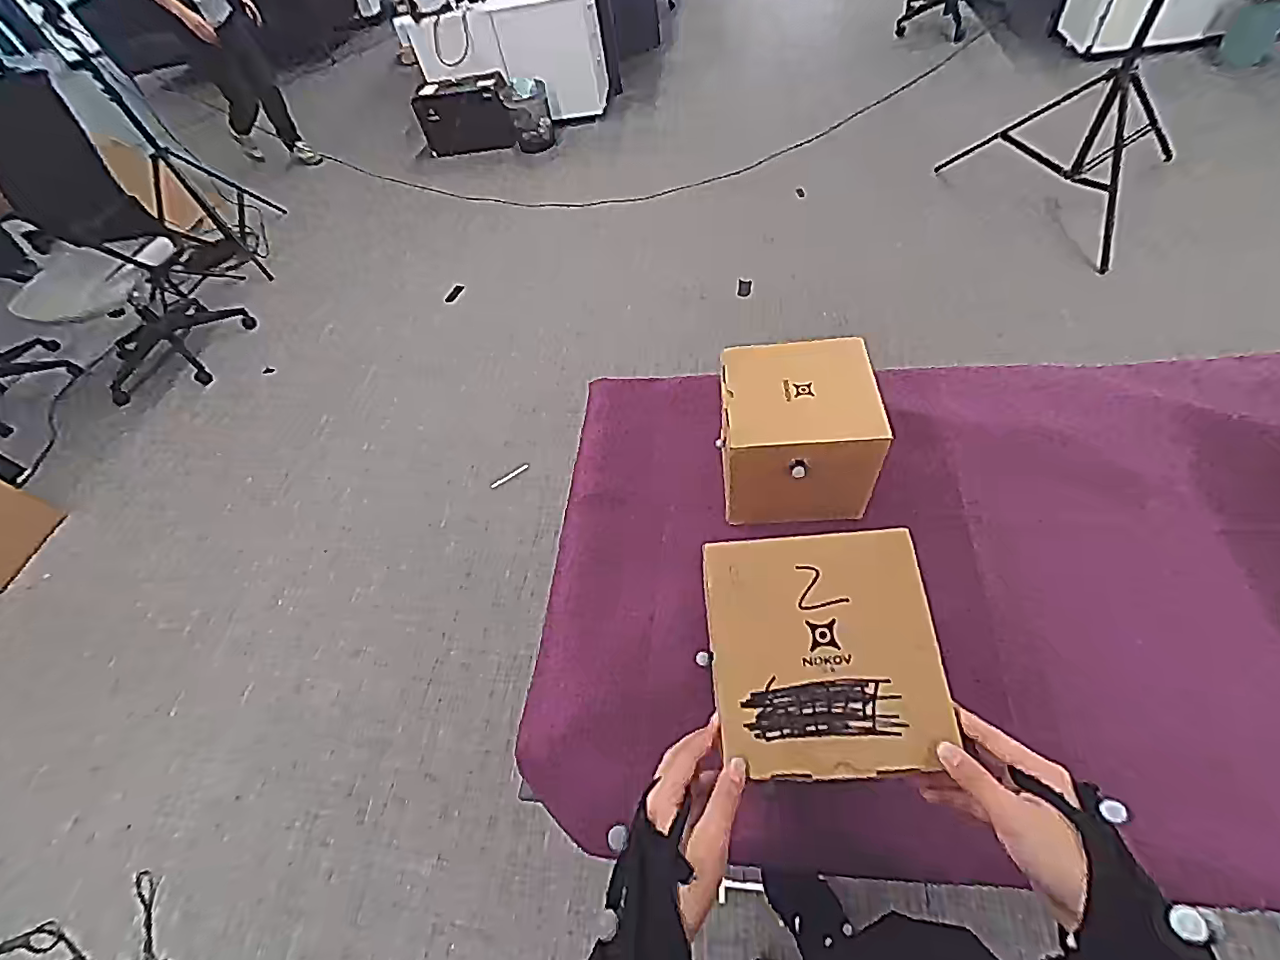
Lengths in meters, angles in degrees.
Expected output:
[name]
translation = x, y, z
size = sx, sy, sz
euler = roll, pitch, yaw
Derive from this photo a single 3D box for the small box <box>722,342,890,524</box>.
[small box]
translation = 0.198, -0.055, 0.700
size = 0.179, 0.176, 0.168
euler = -3, 54, 8
